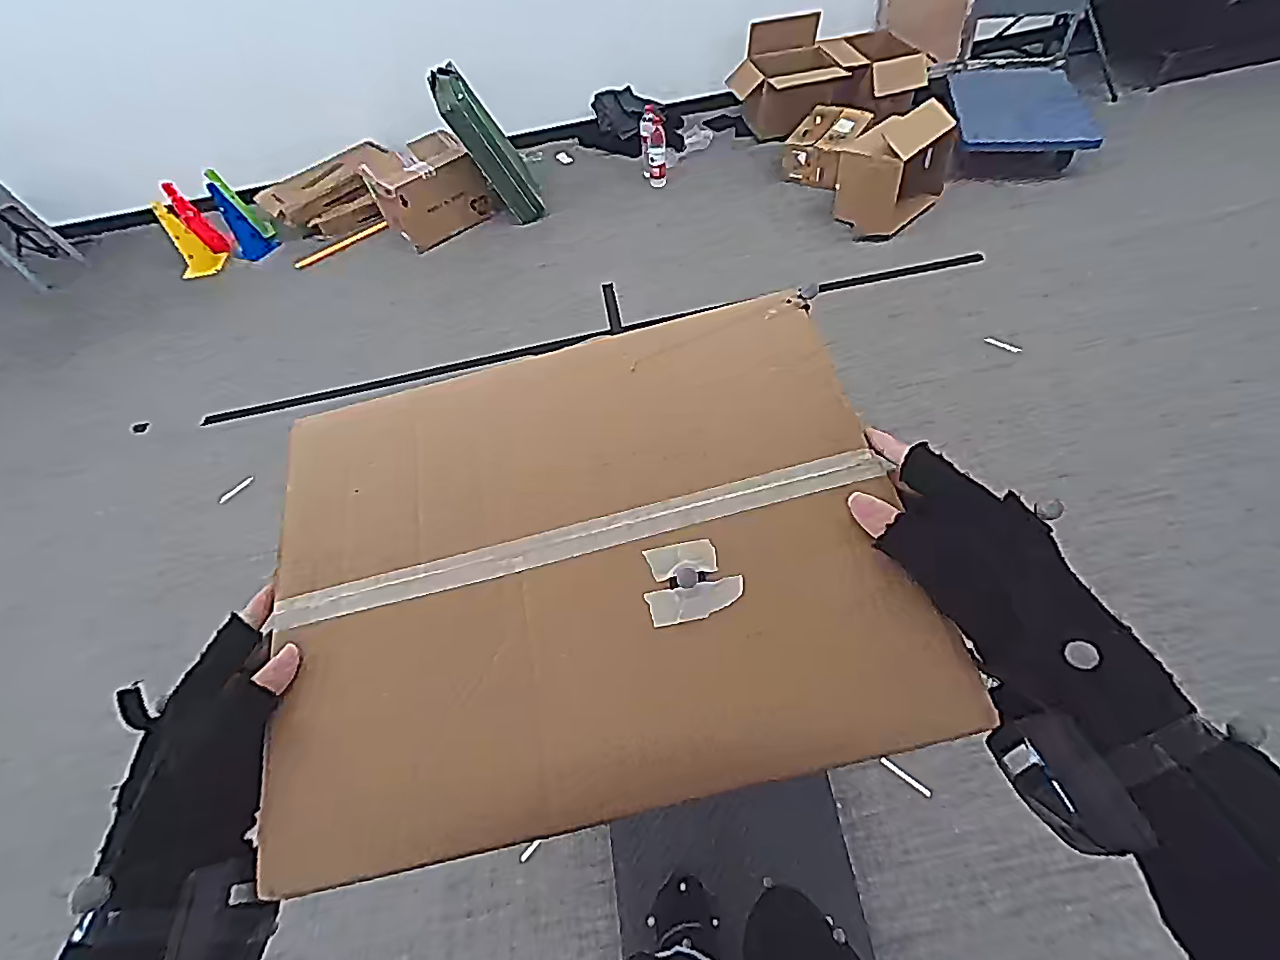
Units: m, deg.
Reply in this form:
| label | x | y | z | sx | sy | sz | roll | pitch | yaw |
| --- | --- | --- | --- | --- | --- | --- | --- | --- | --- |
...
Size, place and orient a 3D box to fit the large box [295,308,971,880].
| label | x | y | z | sx | sy | sz | roll | pitch | yaw |
| --- | --- | --- | --- | --- | --- | --- | --- | --- | --- |
| large box | -0.020 | 0.107 | 0.501 | 0.408 | 0.320 | 0.320 | -14 | 65 | 1 |
